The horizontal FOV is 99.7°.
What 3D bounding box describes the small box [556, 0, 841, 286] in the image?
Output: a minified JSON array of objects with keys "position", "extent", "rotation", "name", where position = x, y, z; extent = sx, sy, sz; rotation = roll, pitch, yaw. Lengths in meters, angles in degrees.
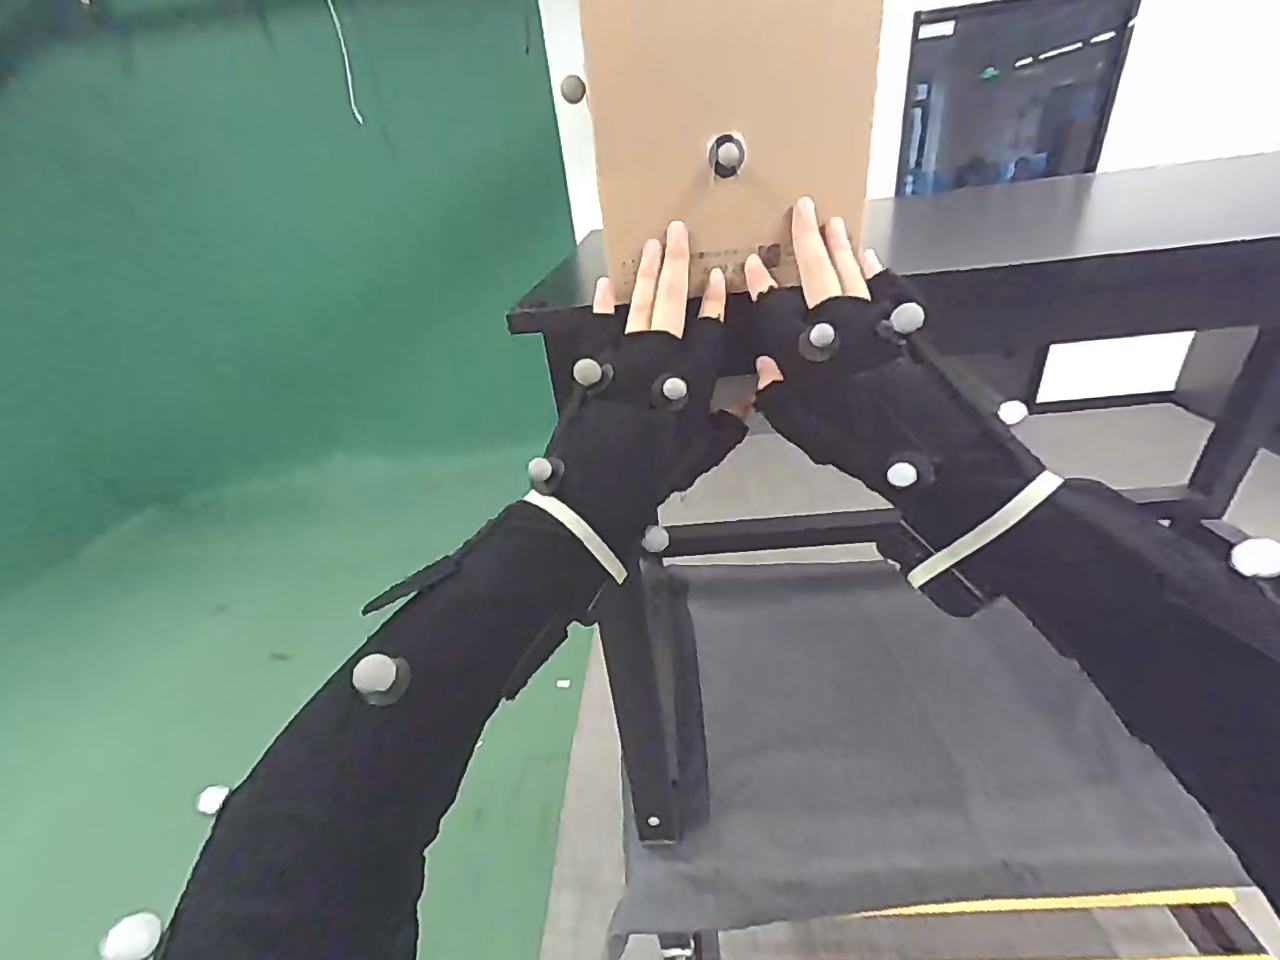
[{"position":[0.041,-0.247,0.405],"extent":[0.168,0.176,0.179],"rotation":[-5,28,1],"name":"small box"}]
